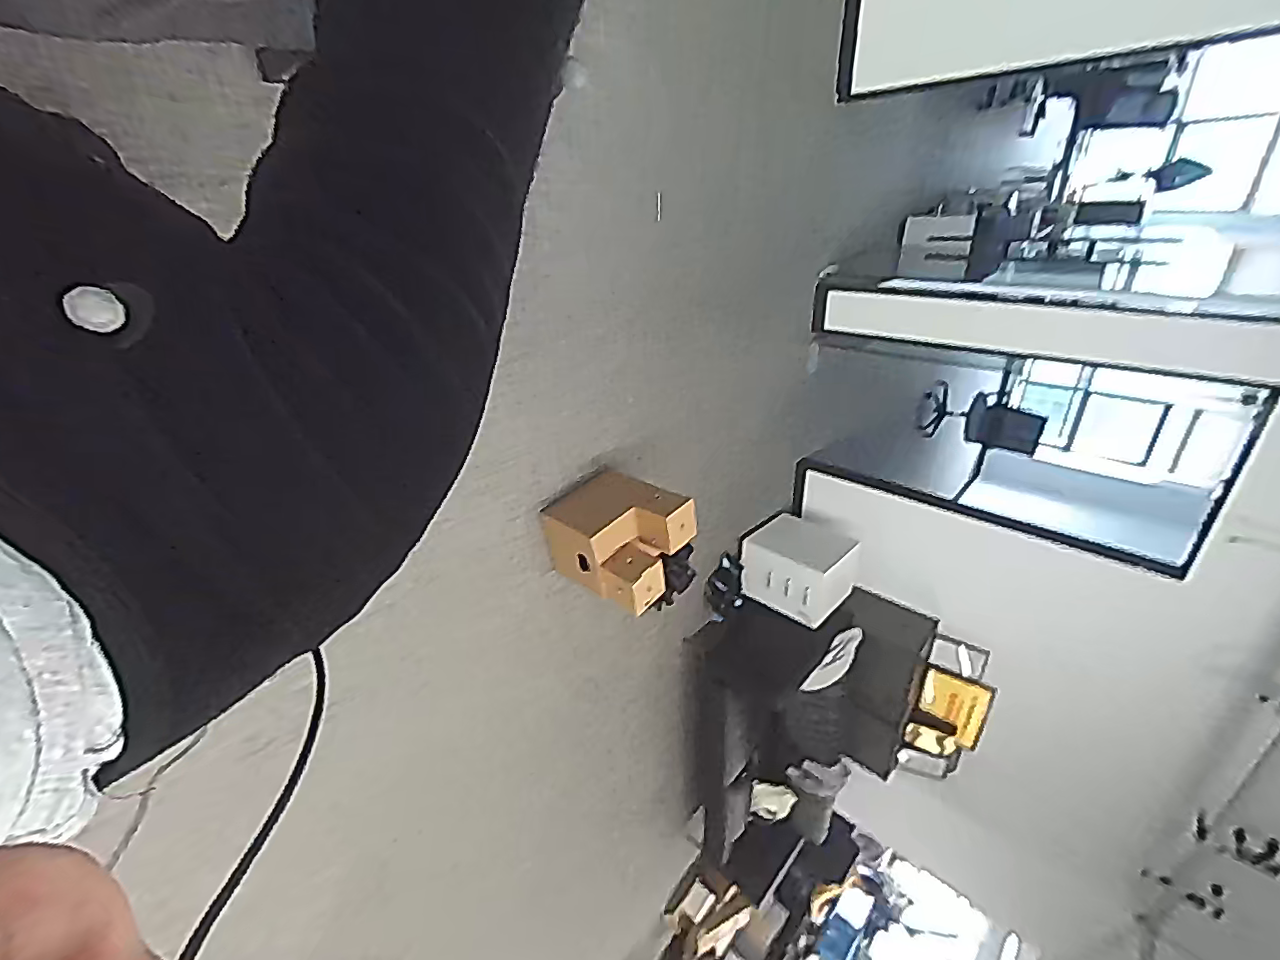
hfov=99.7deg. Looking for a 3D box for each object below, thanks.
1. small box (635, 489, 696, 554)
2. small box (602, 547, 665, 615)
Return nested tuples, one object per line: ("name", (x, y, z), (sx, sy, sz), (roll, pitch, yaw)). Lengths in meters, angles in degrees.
("small box", (0.101, 0.158, 2.134), (0.168, 0.176, 0.179), (-35, 127, -37))
("small box", (-0.026, 0.377, 2.079), (0.168, 0.176, 0.179), (-37, 133, -34))
